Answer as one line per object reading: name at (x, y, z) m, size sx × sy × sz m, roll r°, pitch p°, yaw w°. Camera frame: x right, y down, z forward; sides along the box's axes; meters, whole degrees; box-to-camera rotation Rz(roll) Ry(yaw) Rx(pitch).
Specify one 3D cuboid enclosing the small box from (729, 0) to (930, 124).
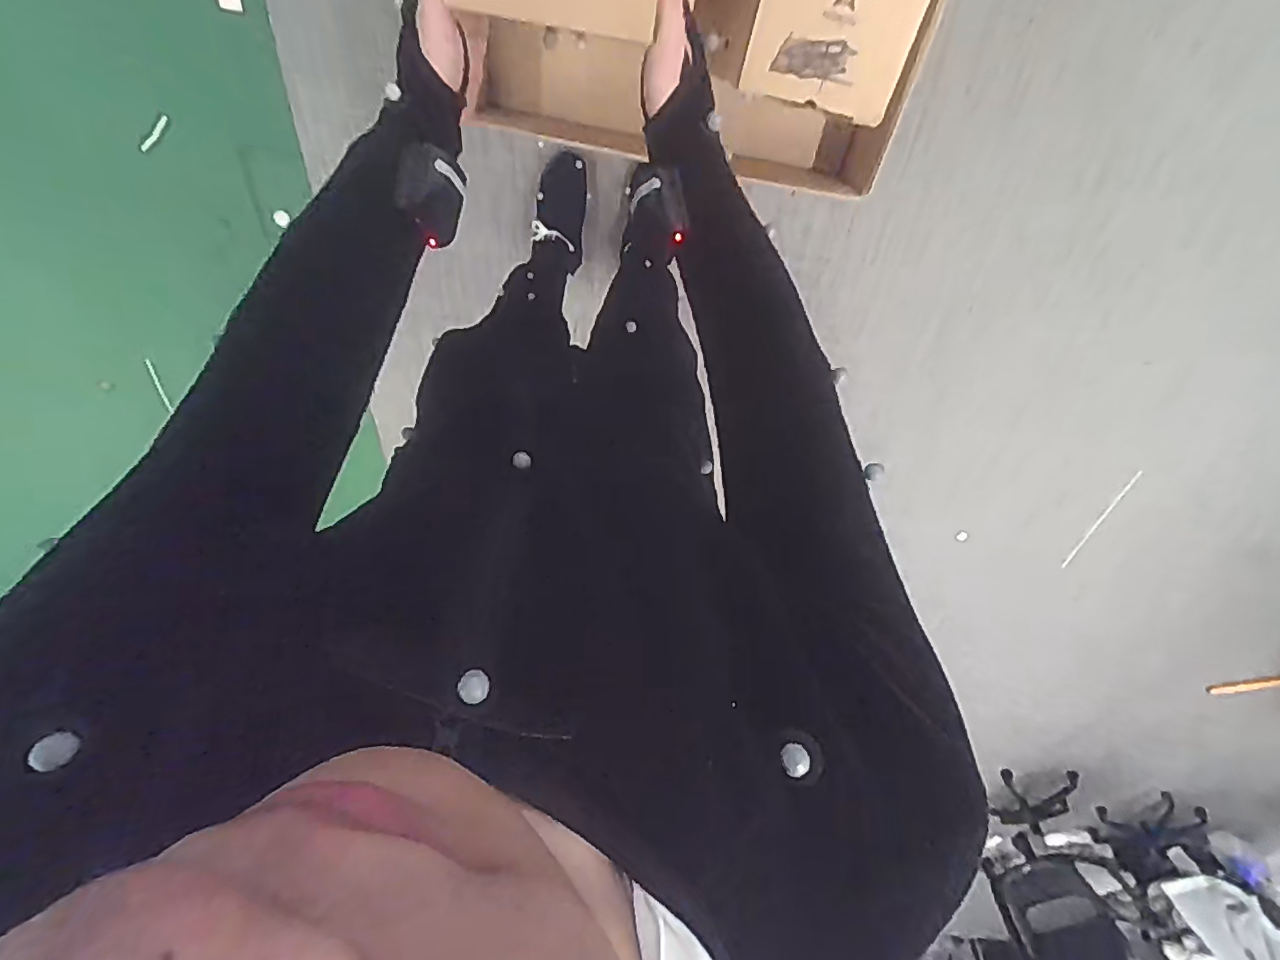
small box at (0.200, -0.515, 0.586) m, size 0.168 × 0.176 × 0.179 m, roll 10°, pitch 128°, yaw -6°

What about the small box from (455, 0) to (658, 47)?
small box at (-0.057, -0.467, 0.424) m, size 0.168 × 0.176 × 0.179 m, roll 9°, pitch 128°, yaw -4°
